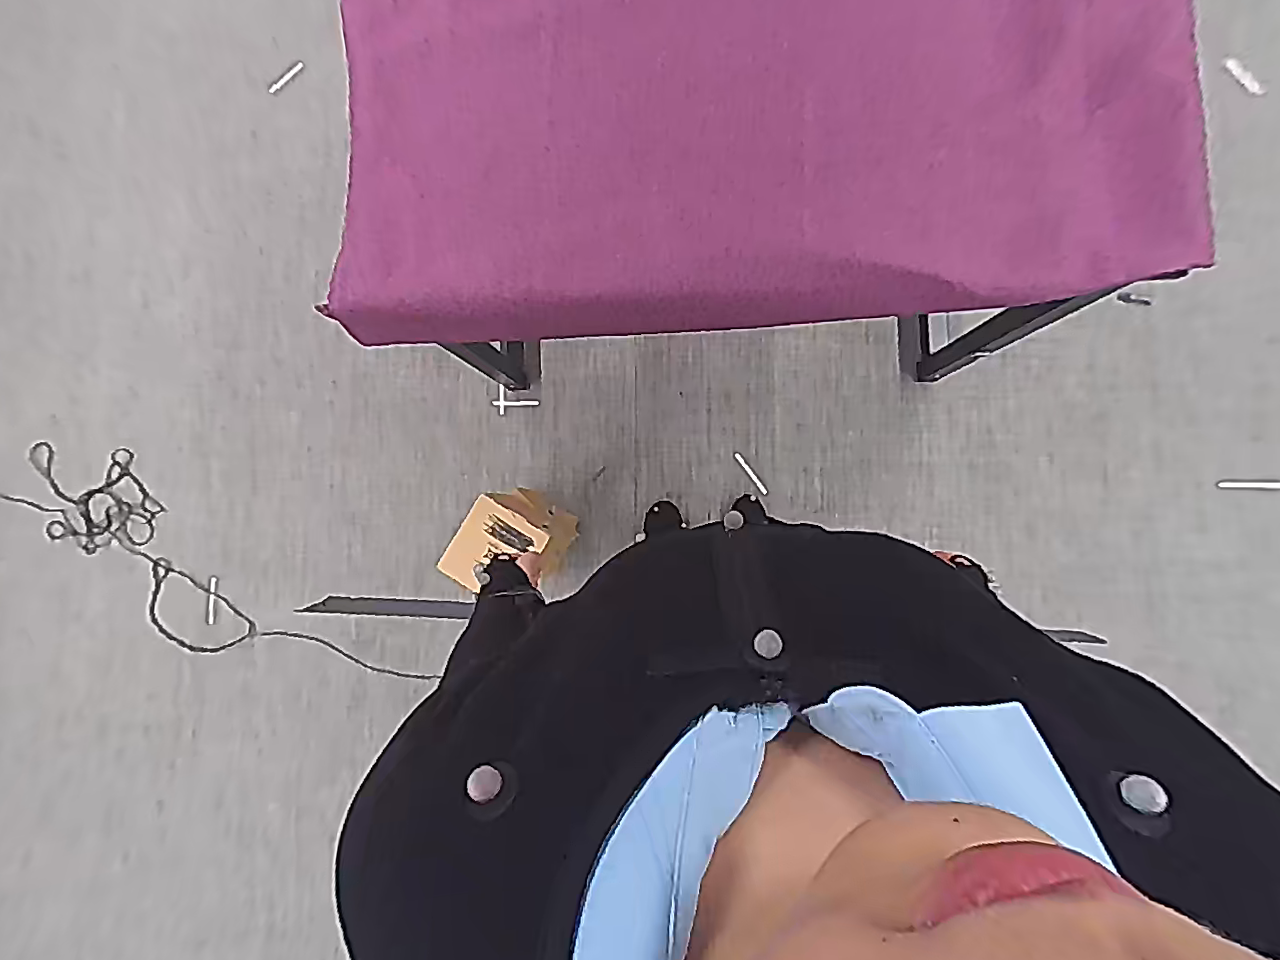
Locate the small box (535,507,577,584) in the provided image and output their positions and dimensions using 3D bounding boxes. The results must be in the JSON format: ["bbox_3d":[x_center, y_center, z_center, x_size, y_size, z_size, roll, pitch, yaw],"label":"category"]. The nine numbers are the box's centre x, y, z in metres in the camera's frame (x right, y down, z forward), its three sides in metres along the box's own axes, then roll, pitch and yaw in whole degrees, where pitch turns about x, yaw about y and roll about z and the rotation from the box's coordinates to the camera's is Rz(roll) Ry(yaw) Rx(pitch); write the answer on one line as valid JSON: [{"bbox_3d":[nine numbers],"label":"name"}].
[{"bbox_3d":[-0.283,0.159,1.460,0.168,0.176,0.179,23,89,5],"label":"small box"}]

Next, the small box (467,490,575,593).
[{"bbox_3d":[-0.273,0.141,1.295,0.168,0.176,0.179,44,91,5],"label":"small box"}]
